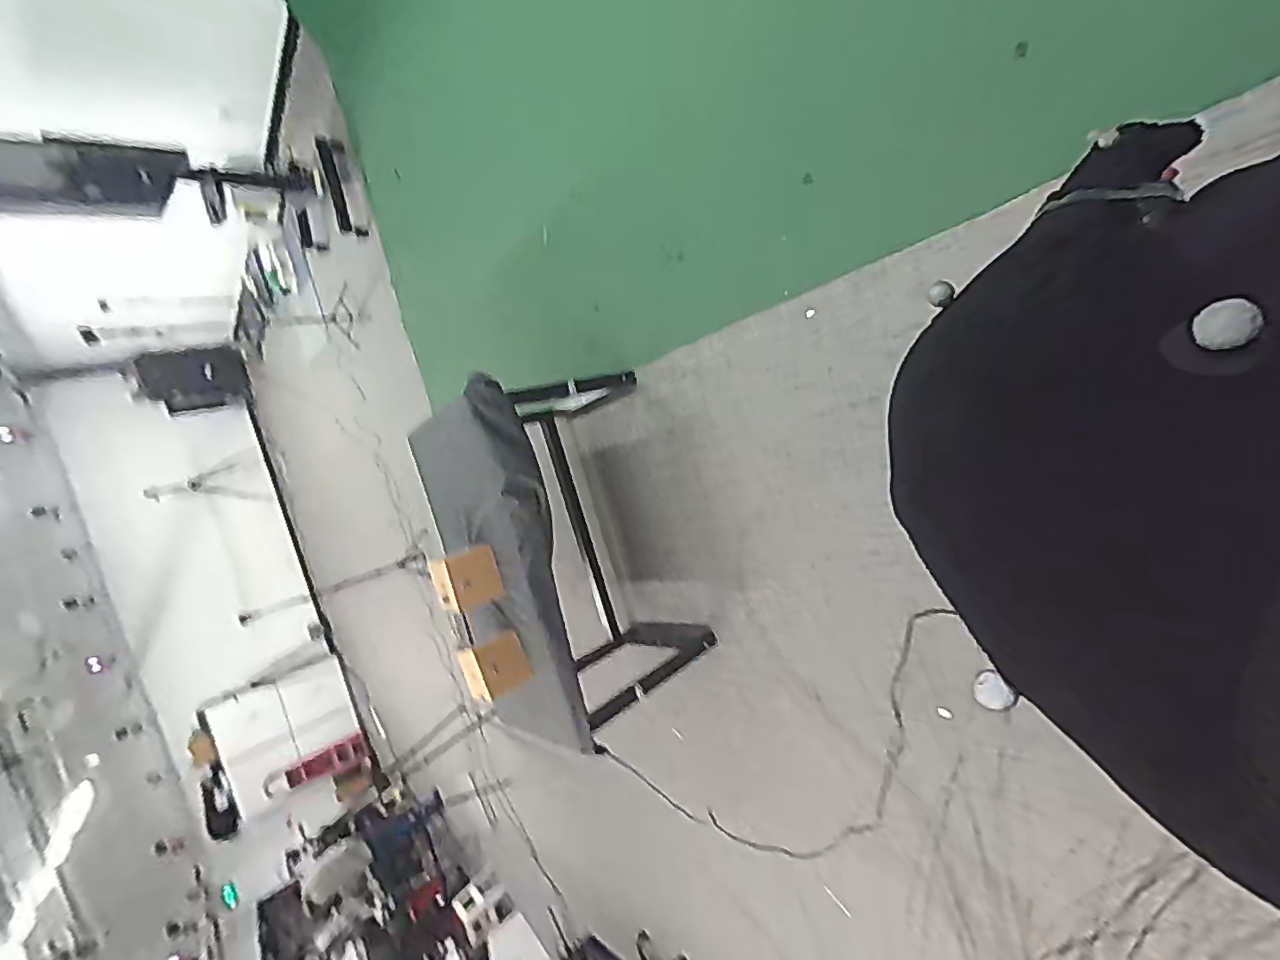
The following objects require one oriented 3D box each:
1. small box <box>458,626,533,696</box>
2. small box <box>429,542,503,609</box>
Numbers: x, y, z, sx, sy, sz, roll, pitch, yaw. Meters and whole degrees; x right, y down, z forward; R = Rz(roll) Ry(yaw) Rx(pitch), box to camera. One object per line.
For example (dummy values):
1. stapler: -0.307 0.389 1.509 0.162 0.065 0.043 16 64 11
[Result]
1. small box: -0.496 0.624 1.865 0.168 0.176 0.179 -27 83 48
2. small box: -0.589 0.322 1.845 0.168 0.176 0.179 -11 96 49
